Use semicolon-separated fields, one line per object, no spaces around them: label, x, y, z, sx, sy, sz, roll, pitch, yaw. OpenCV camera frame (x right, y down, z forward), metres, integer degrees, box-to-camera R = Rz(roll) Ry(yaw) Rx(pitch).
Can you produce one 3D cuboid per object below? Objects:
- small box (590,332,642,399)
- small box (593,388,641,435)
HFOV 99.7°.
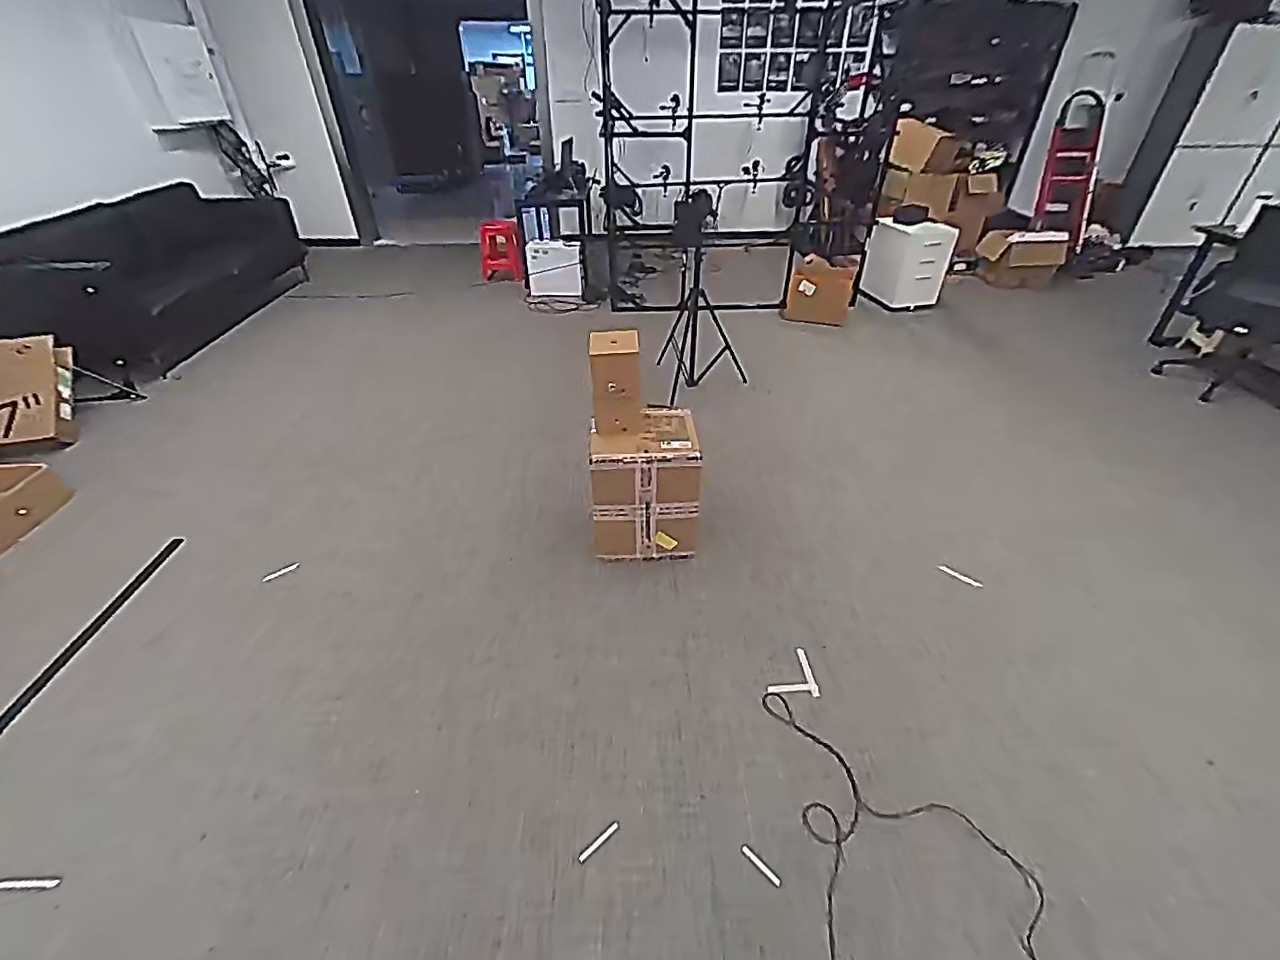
small box;-0.081;-0.397;1.871;0.168;0.176;0.179;-4;39;-1
small box;-0.083;-0.283;1.989;0.168;0.176;0.179;-3;39;-1
